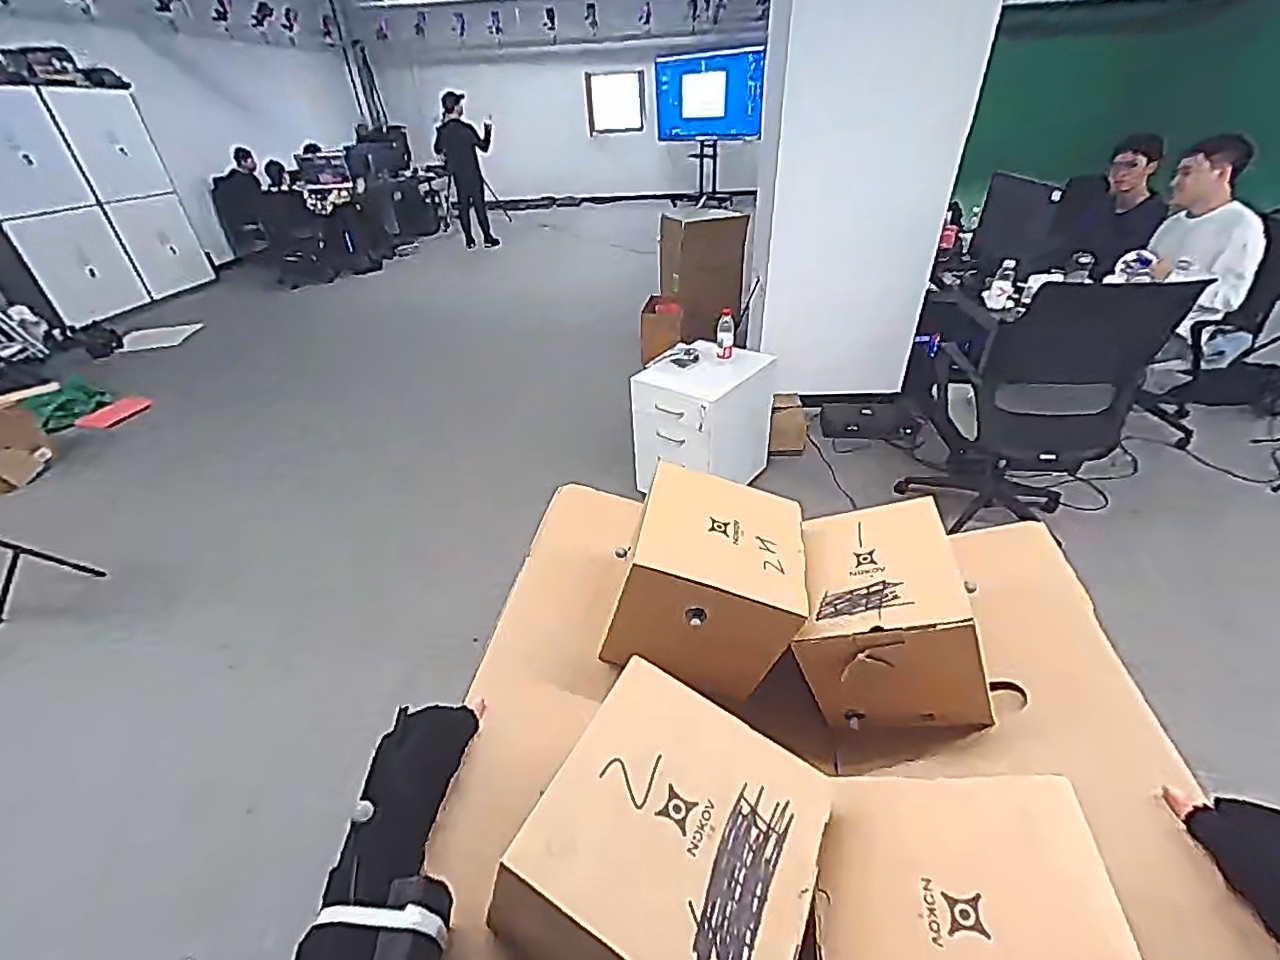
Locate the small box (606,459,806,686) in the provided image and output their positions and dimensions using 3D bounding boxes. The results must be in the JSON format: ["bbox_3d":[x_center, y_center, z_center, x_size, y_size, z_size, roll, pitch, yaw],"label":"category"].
[{"bbox_3d":[0.071,0.109,0.621,0.179,0.176,0.168,18,40,0],"label":"small box"}]
